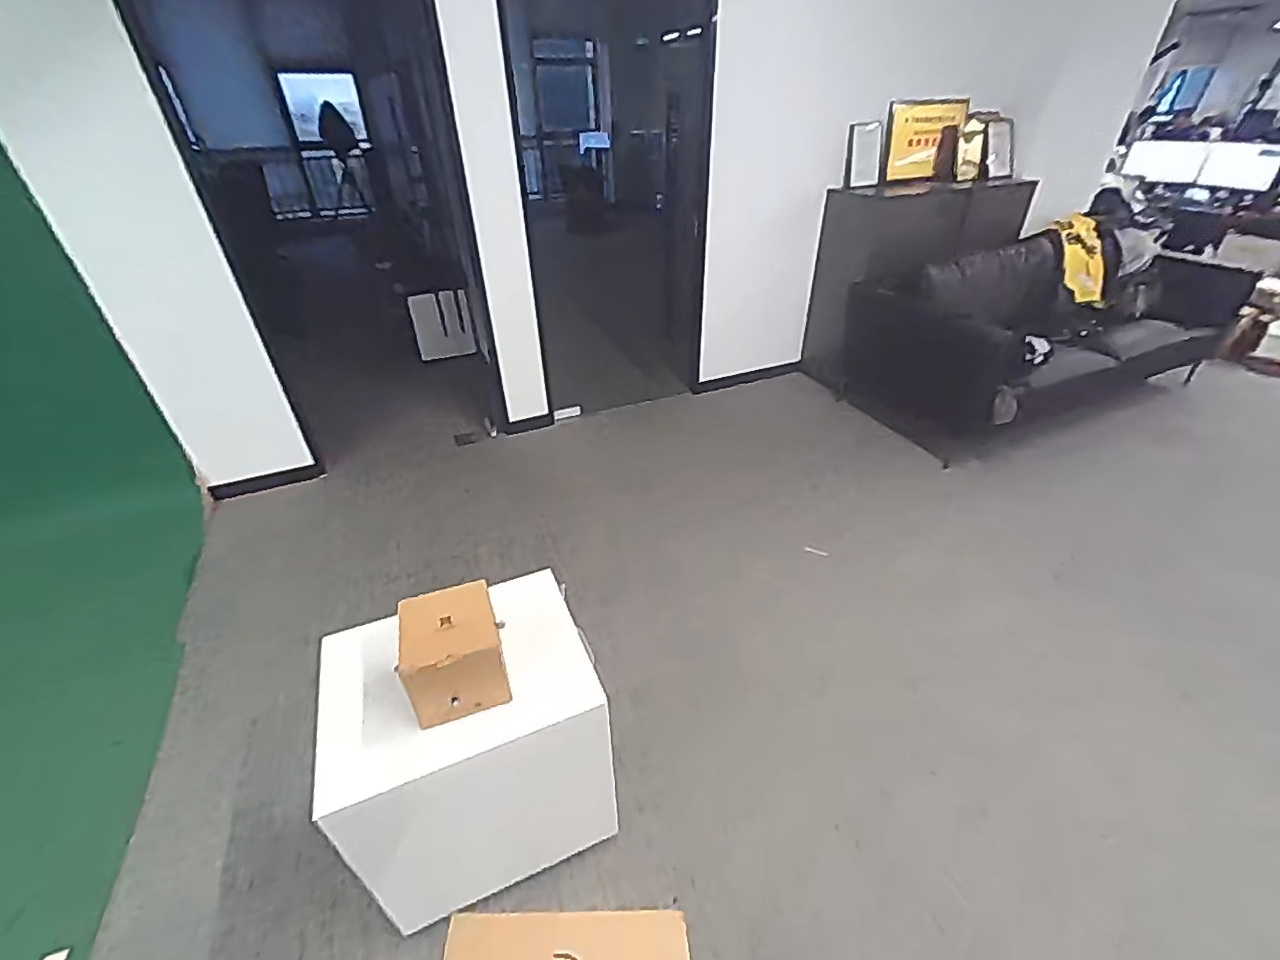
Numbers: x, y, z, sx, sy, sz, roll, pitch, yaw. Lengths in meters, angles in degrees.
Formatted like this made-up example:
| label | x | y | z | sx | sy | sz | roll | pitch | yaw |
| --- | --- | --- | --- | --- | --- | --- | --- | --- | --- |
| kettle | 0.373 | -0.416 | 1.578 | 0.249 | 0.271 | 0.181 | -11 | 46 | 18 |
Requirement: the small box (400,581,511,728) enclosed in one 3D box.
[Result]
| label | x | y | z | sx | sy | sz | roll | pitch | yaw |
| --- | --- | --- | --- | --- | --- | --- | --- | --- | --- |
| small box | -0.348 | 0.326 | 1.023 | 0.168 | 0.176 | 0.179 | -13 | 37 | -17 |
